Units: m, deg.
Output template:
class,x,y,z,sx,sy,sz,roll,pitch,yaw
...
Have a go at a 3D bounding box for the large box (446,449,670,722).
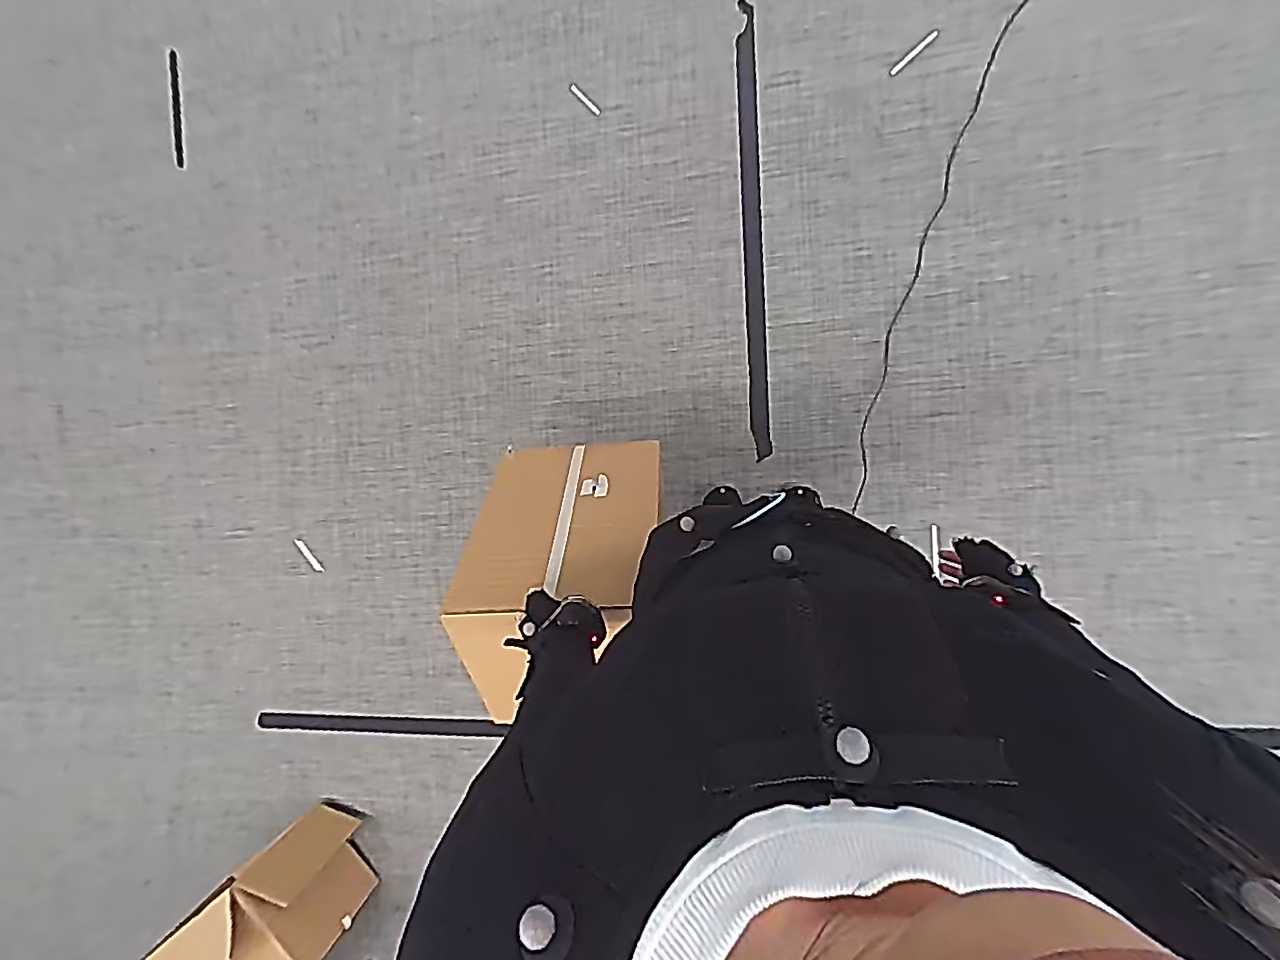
class,x,y,z,sx,sy,sz,roll,pitch,yaw
large box,-0.111,0.186,1.019,0.320,0.408,0.320,-3,127,6
